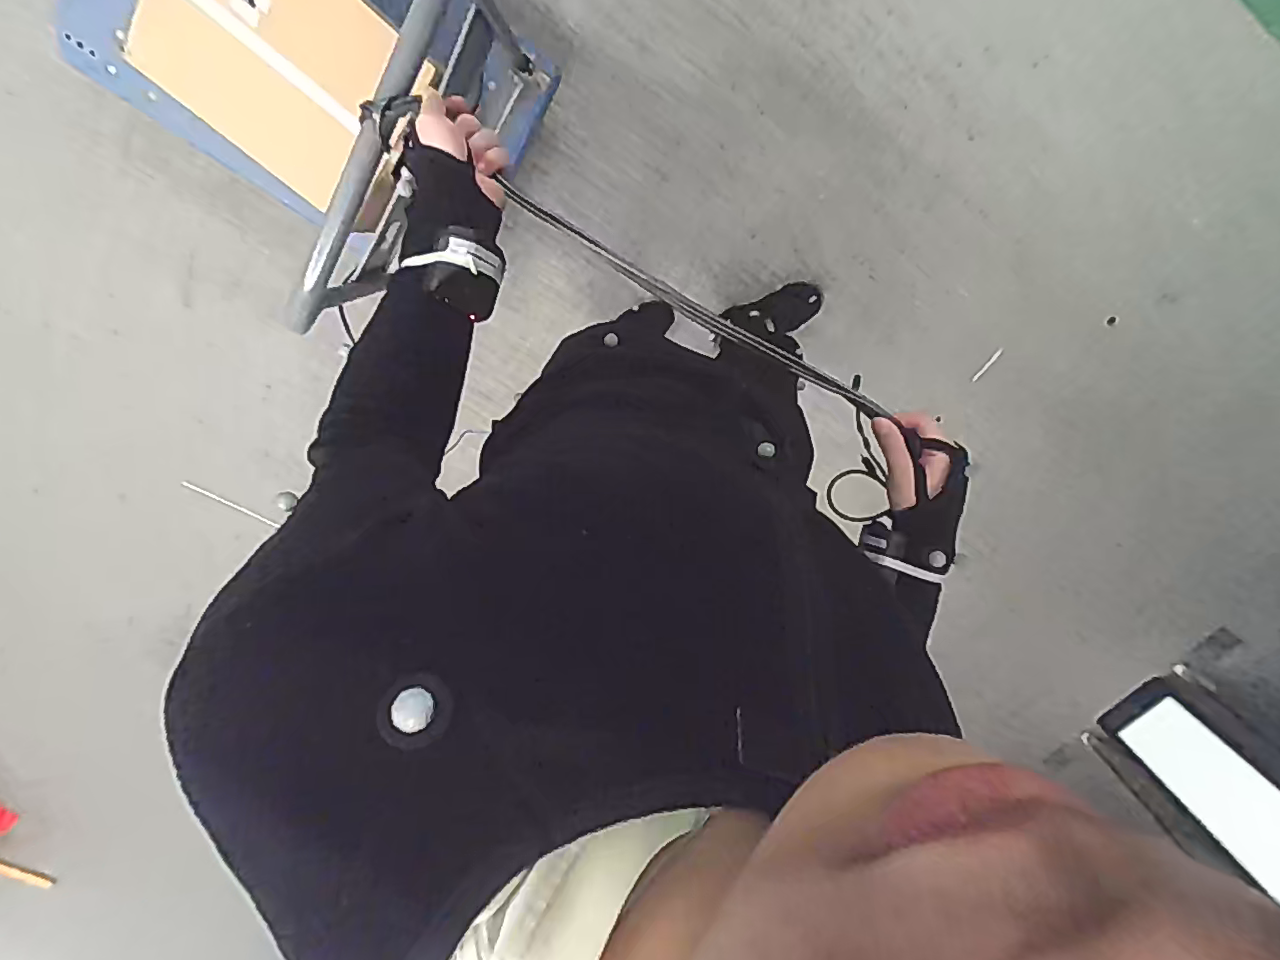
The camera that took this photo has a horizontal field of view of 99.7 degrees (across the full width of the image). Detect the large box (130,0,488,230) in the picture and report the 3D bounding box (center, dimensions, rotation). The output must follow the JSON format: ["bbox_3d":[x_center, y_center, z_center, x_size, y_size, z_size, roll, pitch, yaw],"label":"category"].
[{"bbox_3d":[-0.561,-0.722,0.992,0.408,0.320,0.320,37,110,-15],"label":"large box"}]
